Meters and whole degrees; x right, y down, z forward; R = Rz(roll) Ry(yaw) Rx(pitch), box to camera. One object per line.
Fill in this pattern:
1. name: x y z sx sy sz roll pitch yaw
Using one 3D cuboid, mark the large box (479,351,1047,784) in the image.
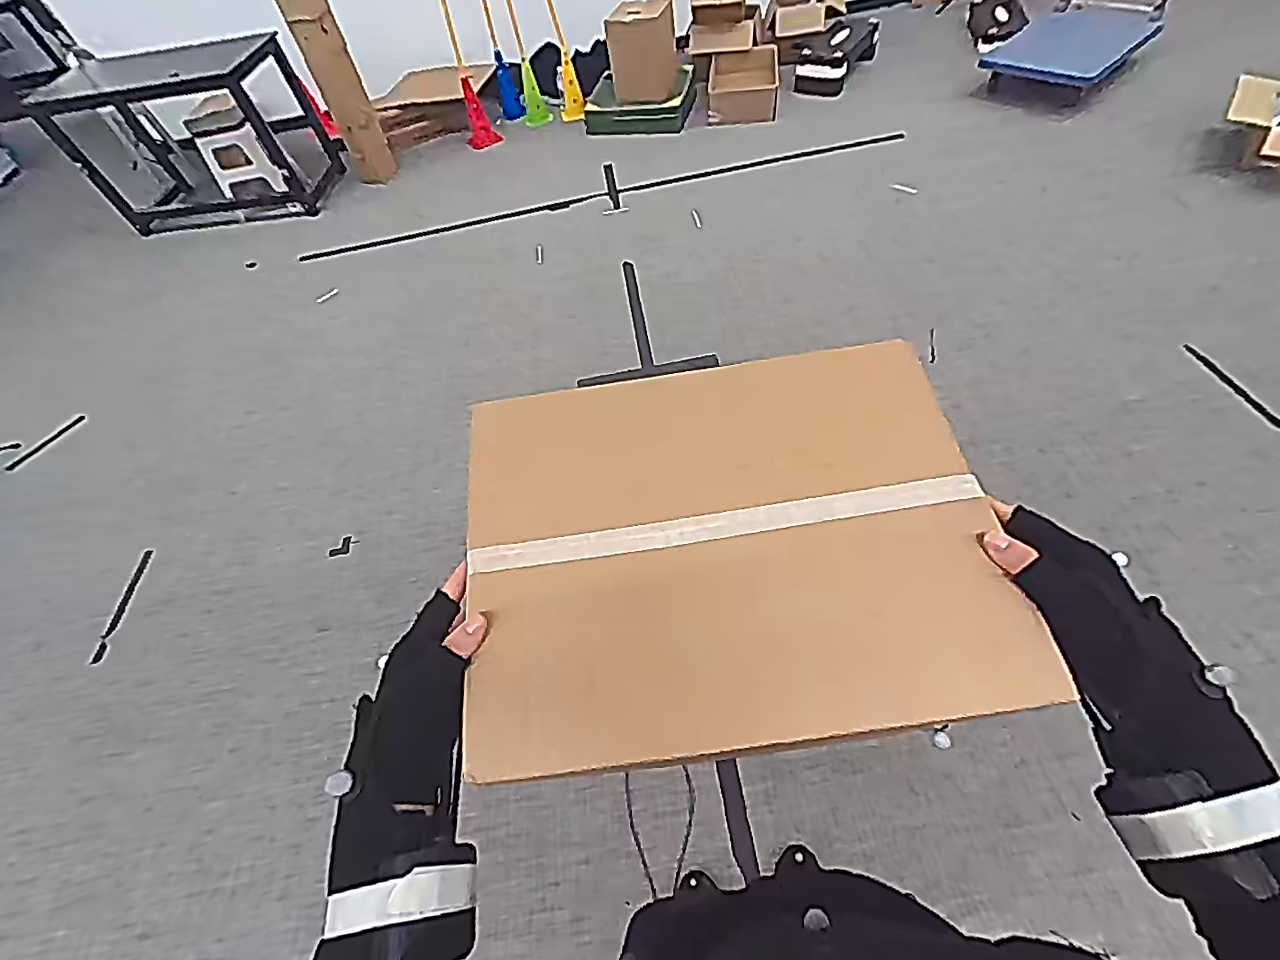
1. large box: 0.080 0.110 0.570 0.408 0.320 0.320 -9 61 1
